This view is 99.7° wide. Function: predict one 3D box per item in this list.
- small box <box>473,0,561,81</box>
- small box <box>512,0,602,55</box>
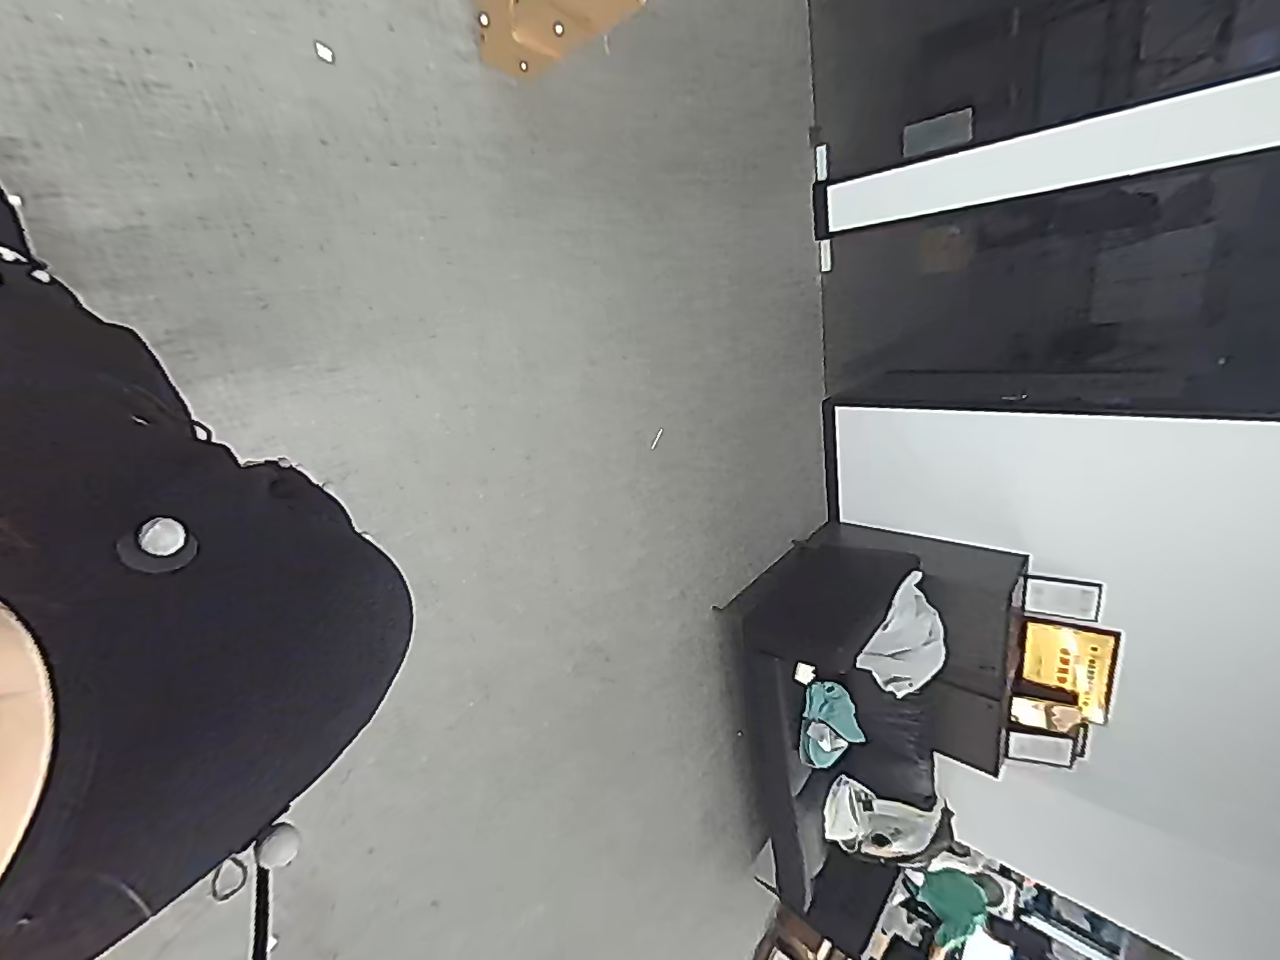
[{"bbox_3d":[-0.343,-1.254,1.510,0.179,0.176,0.168,-15,108,-44],"label":"small box"},{"bbox_3d":[-0.219,-1.254,1.403,0.179,0.176,0.168,-10,104,-45],"label":"small box"}]
